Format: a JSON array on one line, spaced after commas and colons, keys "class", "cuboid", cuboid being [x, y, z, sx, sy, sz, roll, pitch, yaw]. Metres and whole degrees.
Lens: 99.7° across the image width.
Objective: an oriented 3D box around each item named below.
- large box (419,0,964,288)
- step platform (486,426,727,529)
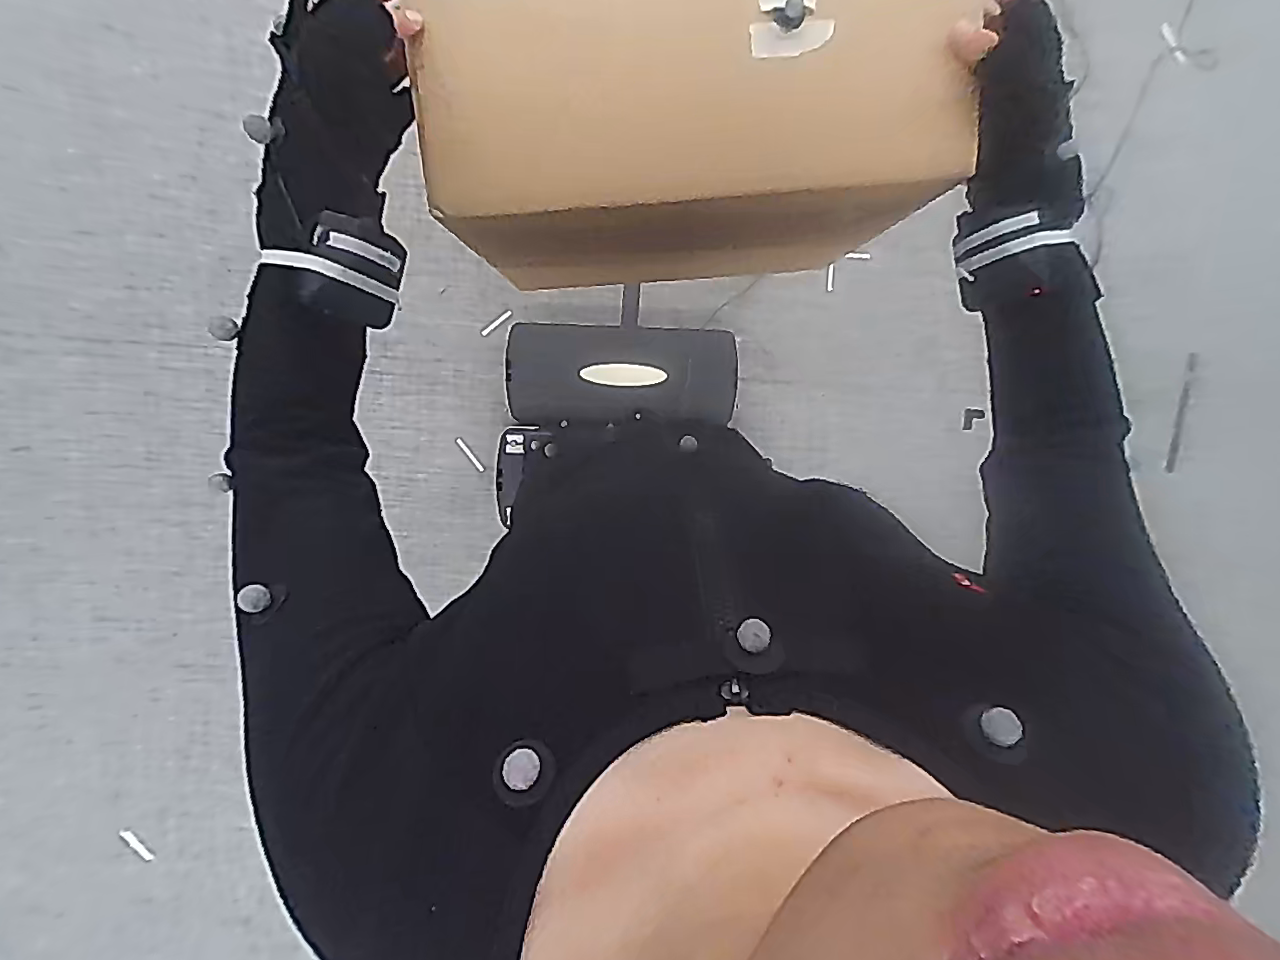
[{"class": "large box", "cuboid": [0.032, -0.394, 0.536, 0.408, 0.320, 0.320, -5, 100, -1]}, {"class": "step platform", "cuboid": [-0.093, -0.008, 1.572, 0.684, 0.204, 0.286, 1, 96, -4]}]
